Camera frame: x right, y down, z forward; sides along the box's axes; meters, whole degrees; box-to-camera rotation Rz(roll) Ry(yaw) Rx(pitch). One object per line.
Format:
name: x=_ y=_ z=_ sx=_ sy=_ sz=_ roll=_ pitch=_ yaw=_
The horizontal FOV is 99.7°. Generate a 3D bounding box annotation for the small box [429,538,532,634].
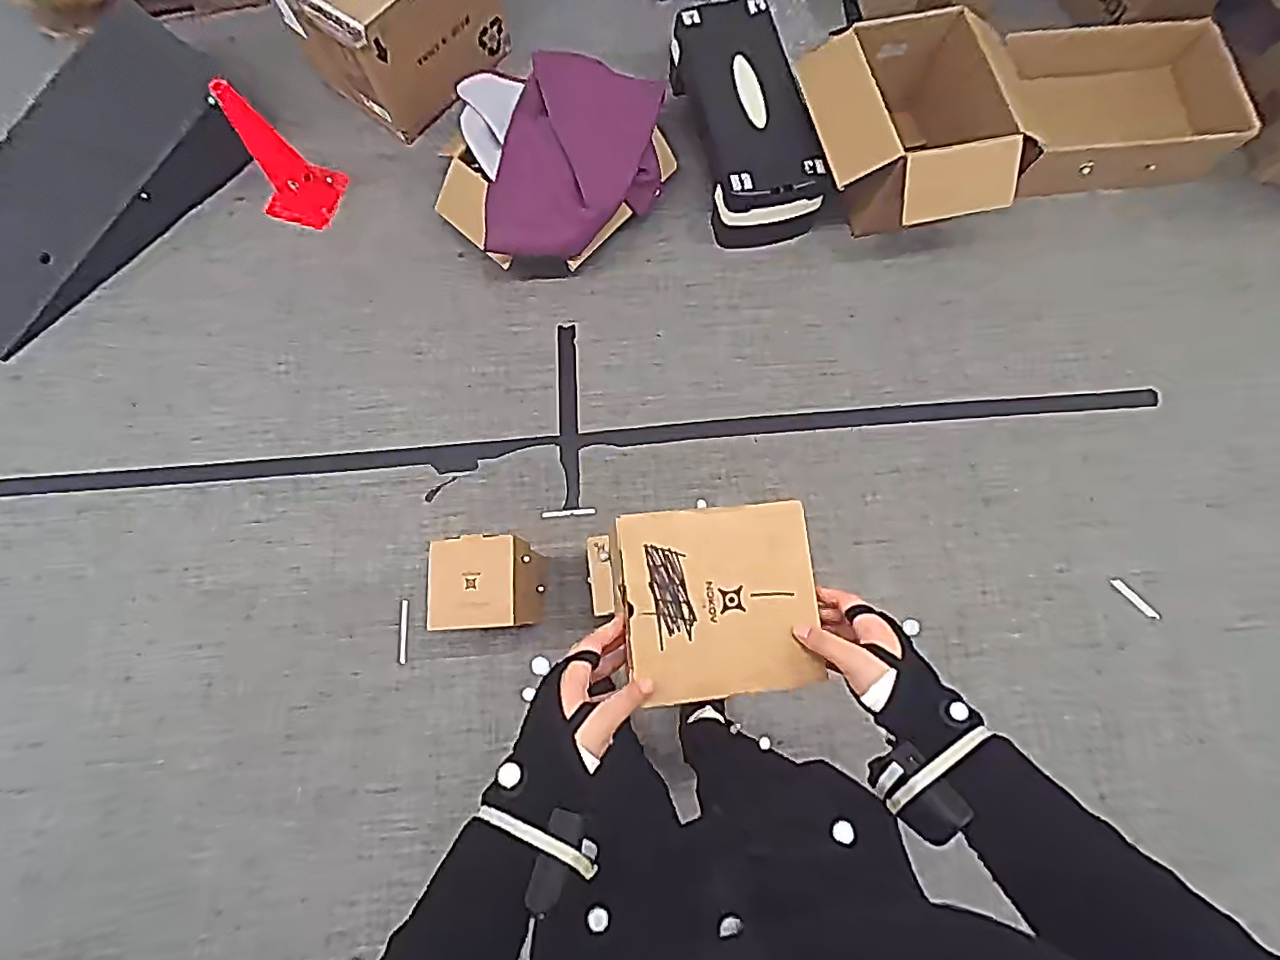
small box: x=-0.322 y=0.222 z=1.119 sx=0.168 sy=0.176 sz=0.179 roll=-4 pitch=78 yaw=0

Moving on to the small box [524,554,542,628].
small box: x=-0.329 y=0.265 z=1.275 sx=0.179 sy=0.176 sz=0.168 roll=-3 pitch=76 yaw=0

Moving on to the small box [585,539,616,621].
small box: x=-0.033 y=0.233 z=1.286 sx=0.168 sy=0.176 sz=0.179 roll=-7 pitch=77 yaw=-2

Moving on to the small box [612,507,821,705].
small box: x=0.062 y=0.123 z=0.566 sx=0.179 sy=0.176 sz=0.168 roll=-4 pitch=81 yaw=-7
